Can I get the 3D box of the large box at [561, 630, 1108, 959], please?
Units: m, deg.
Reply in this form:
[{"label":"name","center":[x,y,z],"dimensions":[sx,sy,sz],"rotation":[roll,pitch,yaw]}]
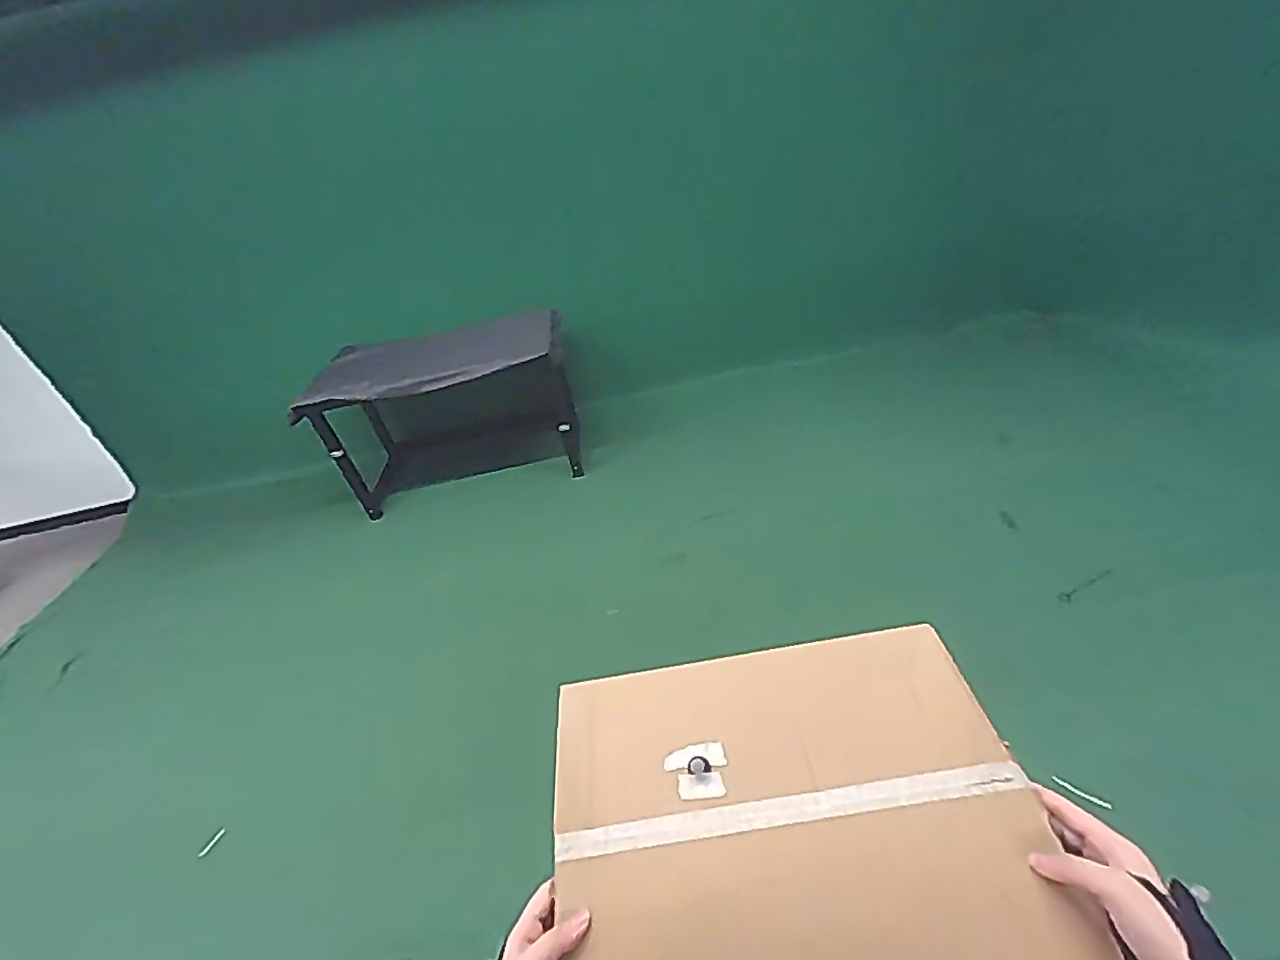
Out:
[{"label":"large box","center":[0.154,0.408,0.574],"dimensions":[0.408,0.320,0.320],"rotation":[-12,40,4]}]
